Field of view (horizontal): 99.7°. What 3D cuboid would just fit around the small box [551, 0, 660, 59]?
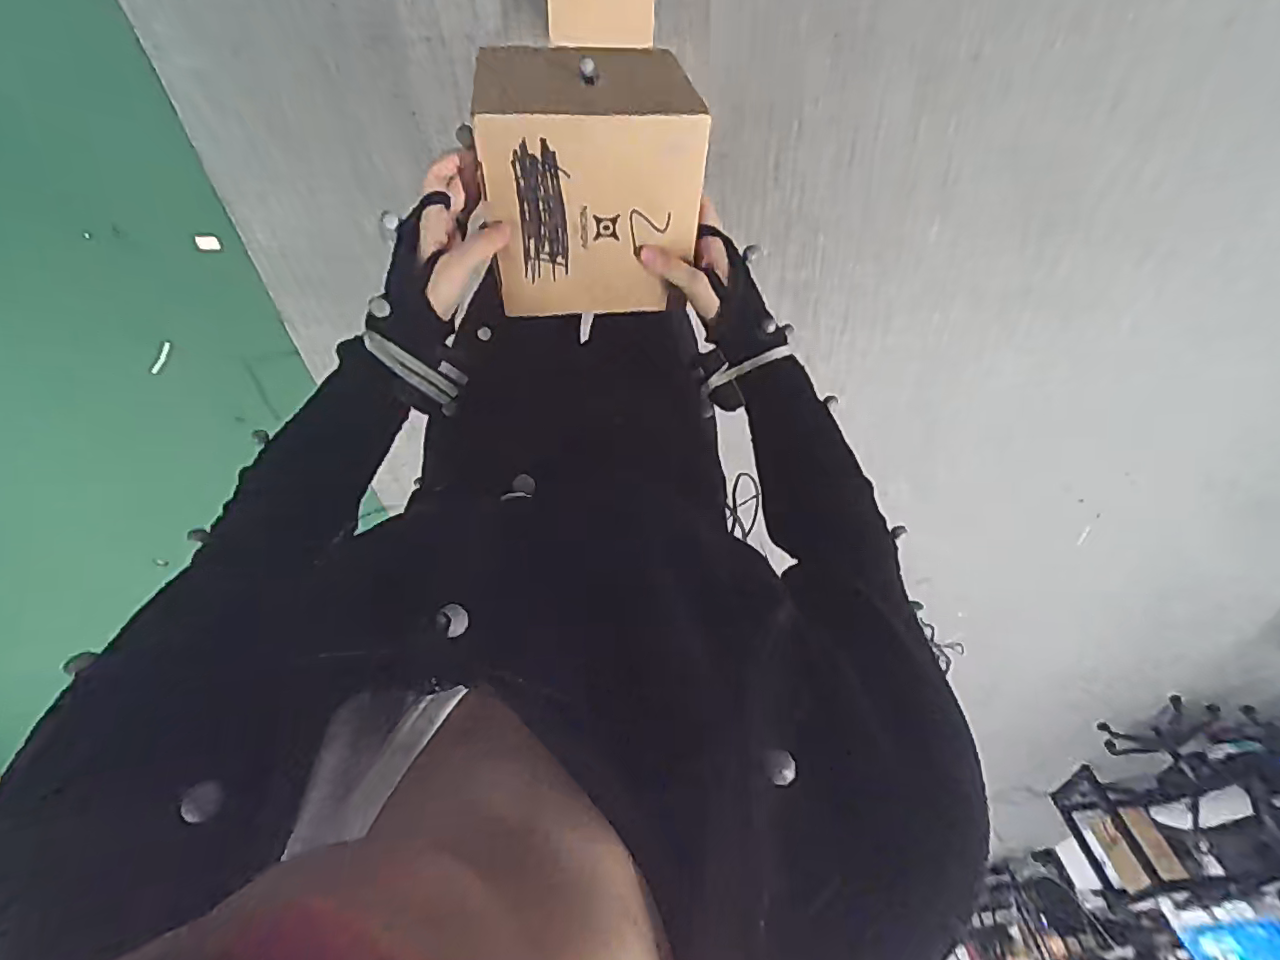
[{"bbox_3d":[-0.060,-0.823,0.909,0.179,0.176,0.168,-1,131,-4],"label":"small box"}]
